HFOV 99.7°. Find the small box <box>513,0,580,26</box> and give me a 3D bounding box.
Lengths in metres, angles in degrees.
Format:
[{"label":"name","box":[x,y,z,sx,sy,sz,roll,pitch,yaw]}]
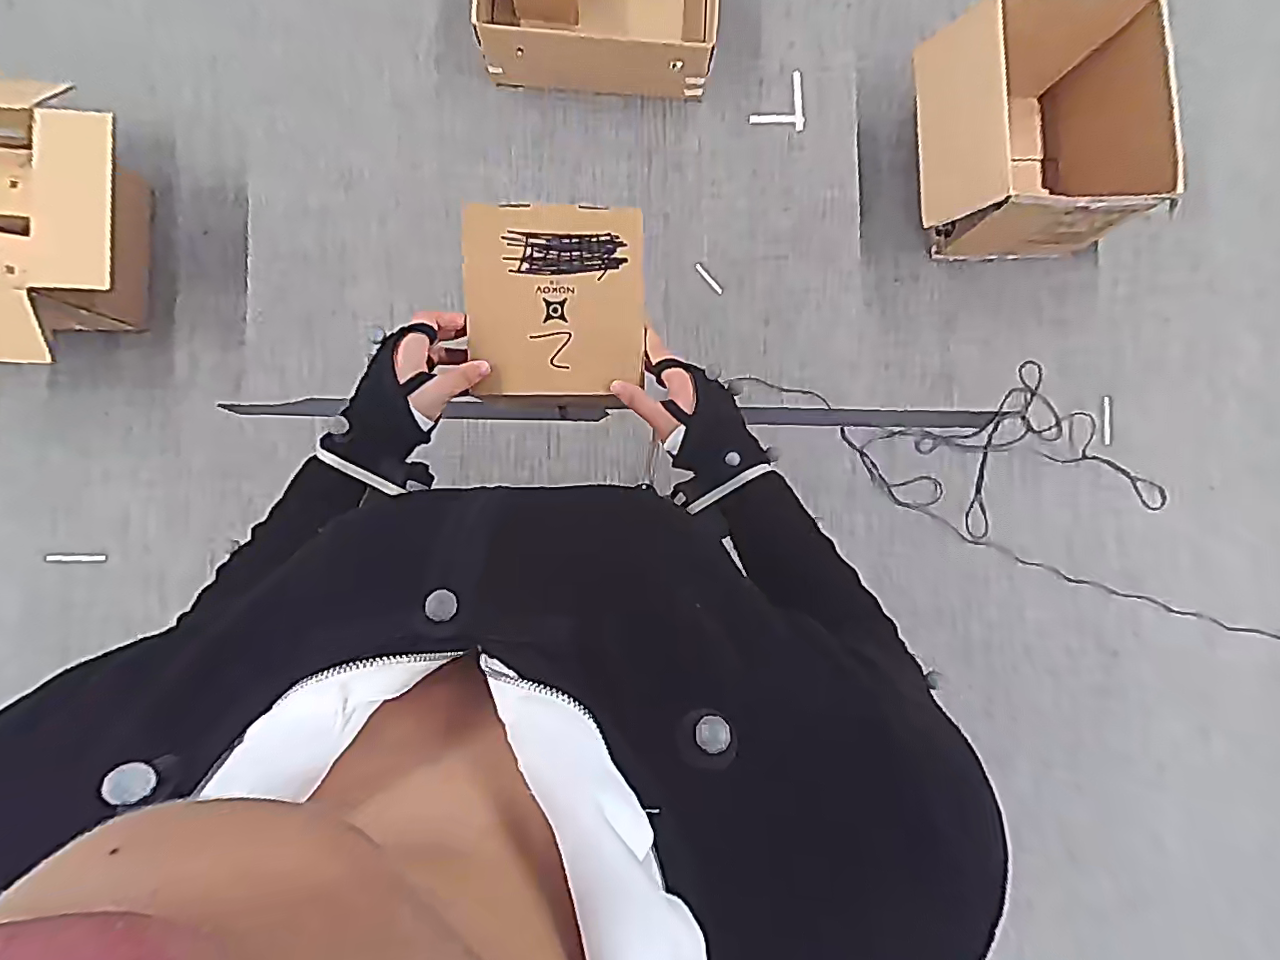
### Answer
[{"label":"small box","box":[-0.248,-1.347,1.421,0.179,0.176,0.168,4,90,-4]}]
